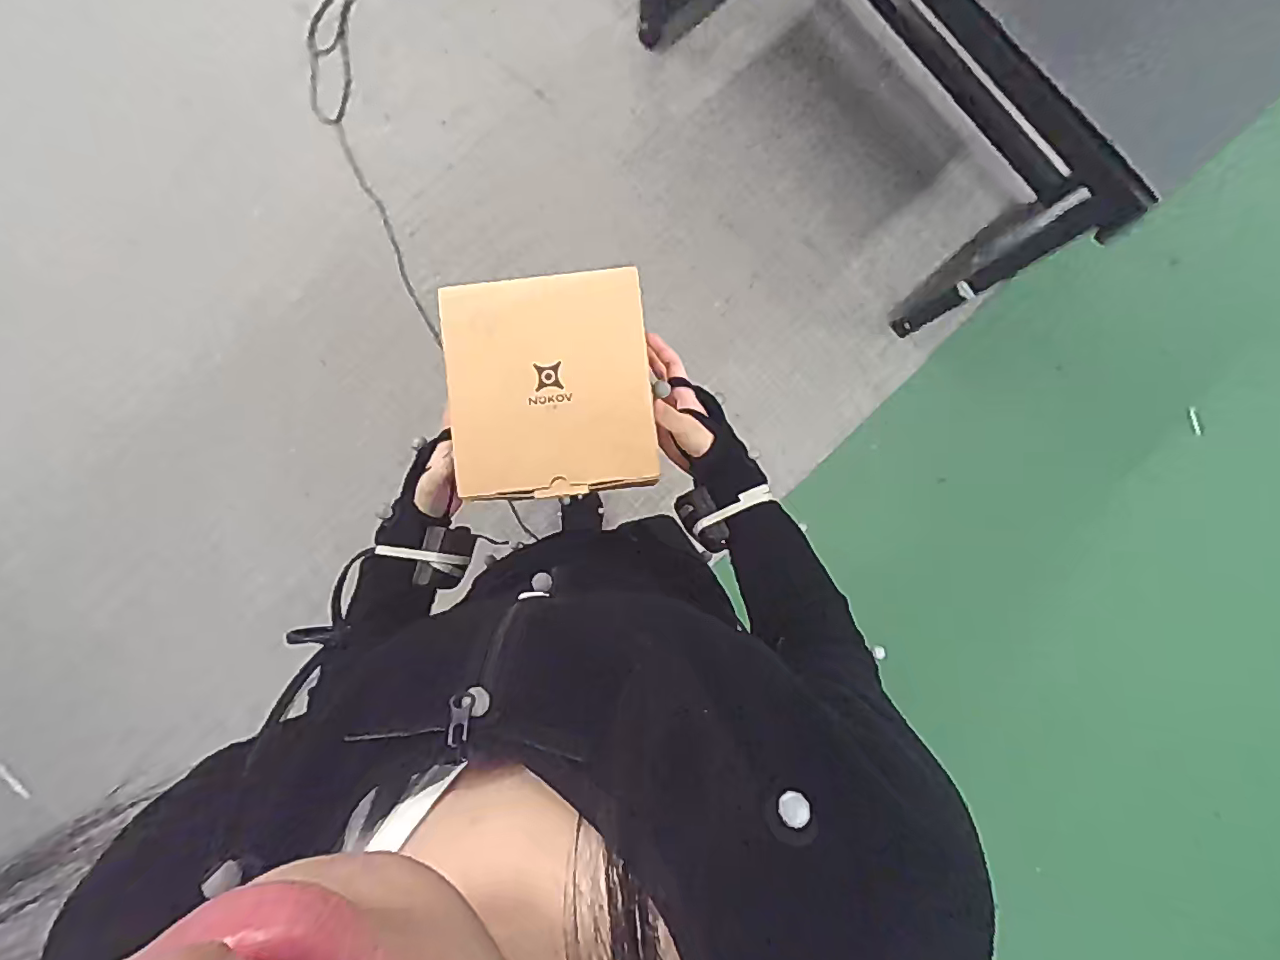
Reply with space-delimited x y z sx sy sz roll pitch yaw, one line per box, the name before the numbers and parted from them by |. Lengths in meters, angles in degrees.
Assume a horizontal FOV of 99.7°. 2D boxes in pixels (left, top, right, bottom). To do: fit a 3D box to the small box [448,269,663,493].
small box | -0.072 -0.080 0.522 0.168 0.176 0.179 -6 90 -1
